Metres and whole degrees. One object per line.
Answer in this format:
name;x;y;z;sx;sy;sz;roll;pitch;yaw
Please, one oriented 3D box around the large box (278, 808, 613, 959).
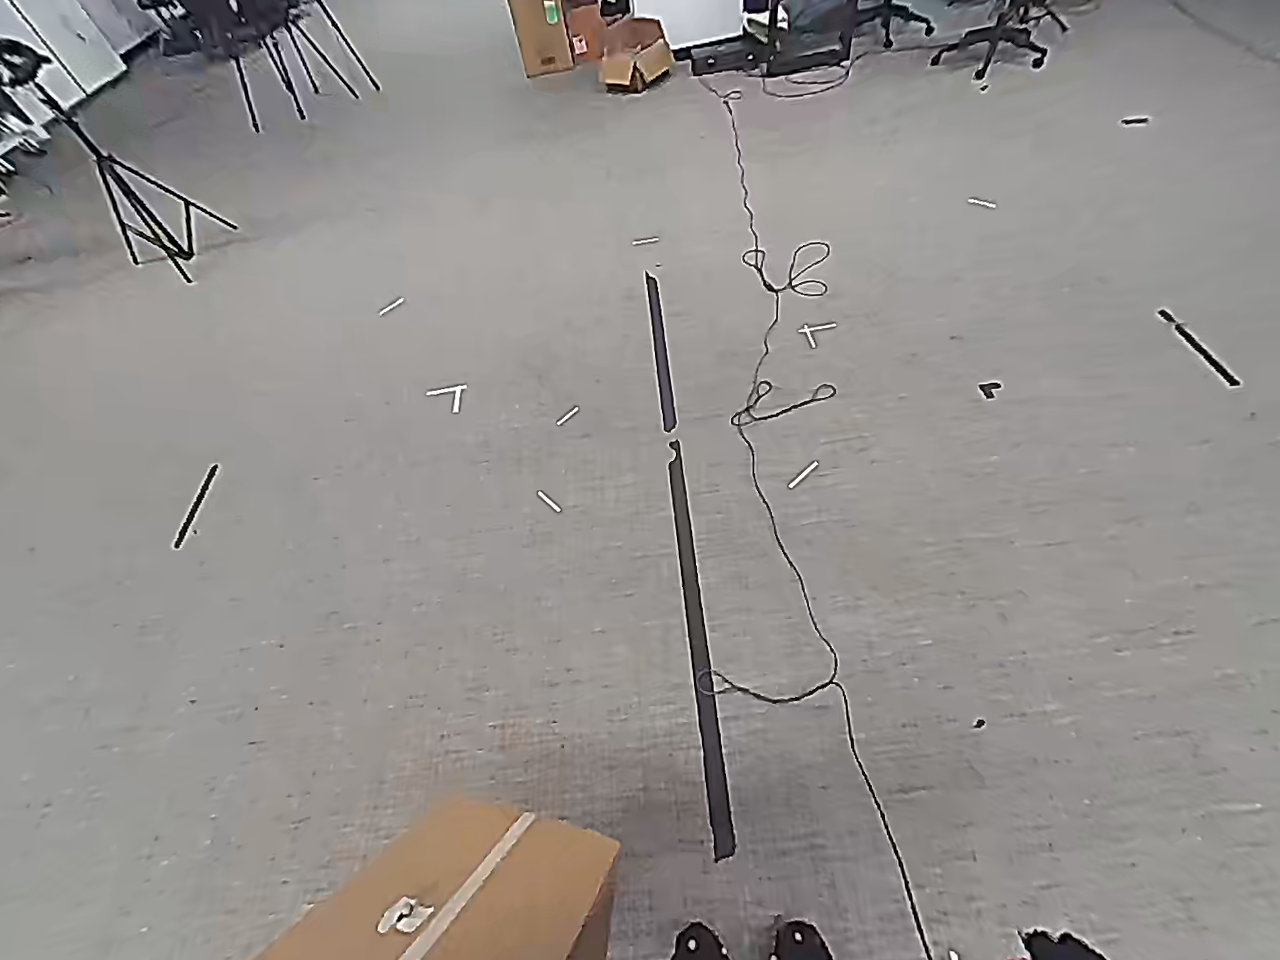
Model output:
large box;-0.252;0.723;0.708;0.320;0.408;0.320;5;87;15
